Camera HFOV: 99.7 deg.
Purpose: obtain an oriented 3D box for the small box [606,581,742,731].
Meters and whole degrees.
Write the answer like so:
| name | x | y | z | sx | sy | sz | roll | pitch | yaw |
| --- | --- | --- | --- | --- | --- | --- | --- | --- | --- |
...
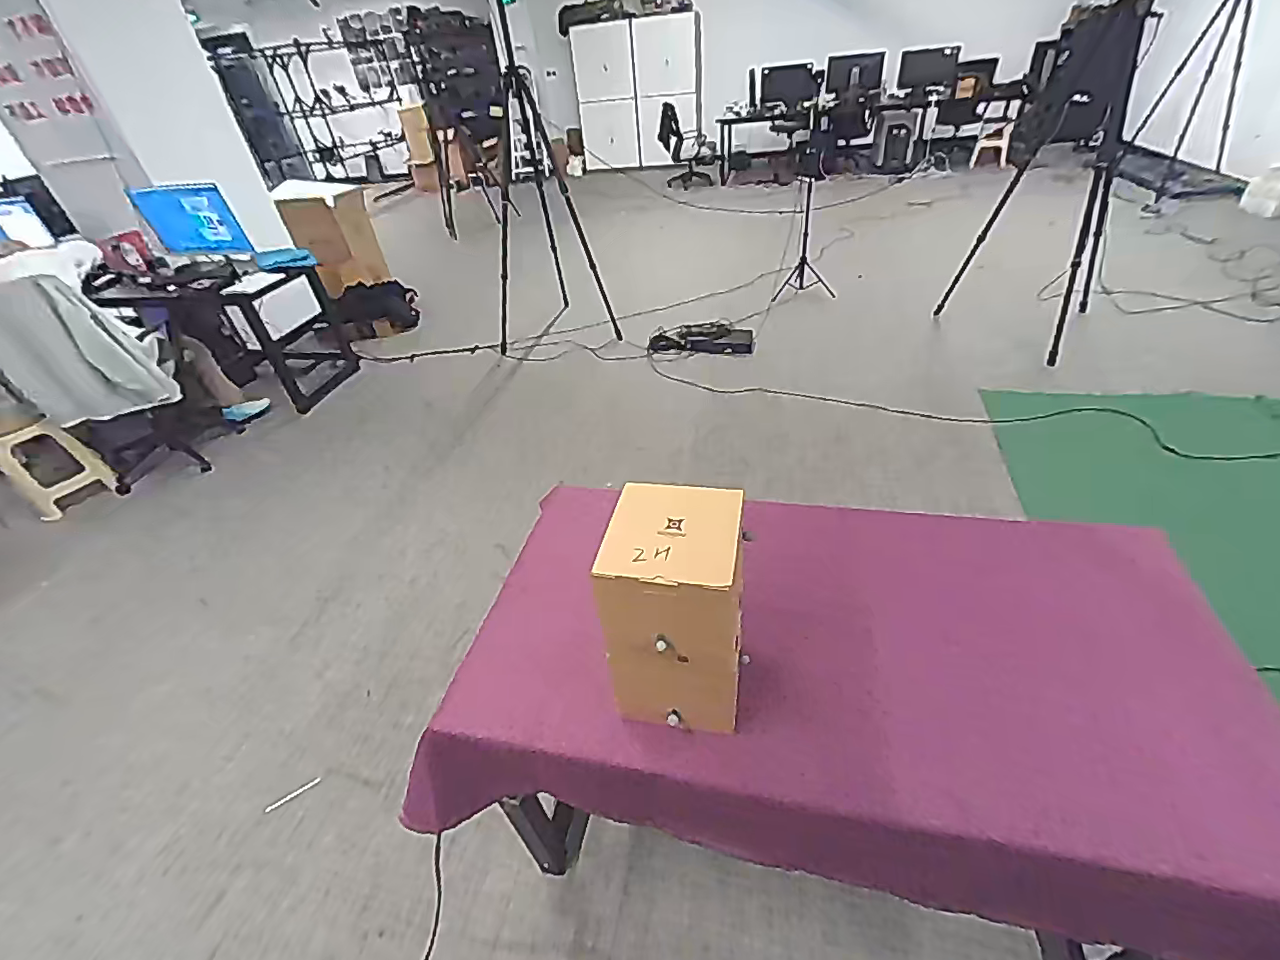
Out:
| name | x | y | z | sx | sy | sz | roll | pitch | yaw |
| --- | --- | --- | --- | --- | --- | --- | --- | --- | --- |
| small box | 0.060 | 0.259 | 0.827 | 0.179 | 0.176 | 0.168 | 4 | 39 | 12 |

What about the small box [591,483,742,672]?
| name | x | y | z | sx | sy | sz | roll | pitch | yaw |
| --- | --- | --- | --- | --- | --- | --- | --- | --- | --- |
| small box | 0.046 | 0.127 | 0.728 | 0.168 | 0.176 | 0.179 | 4 | 40 | 14 |
